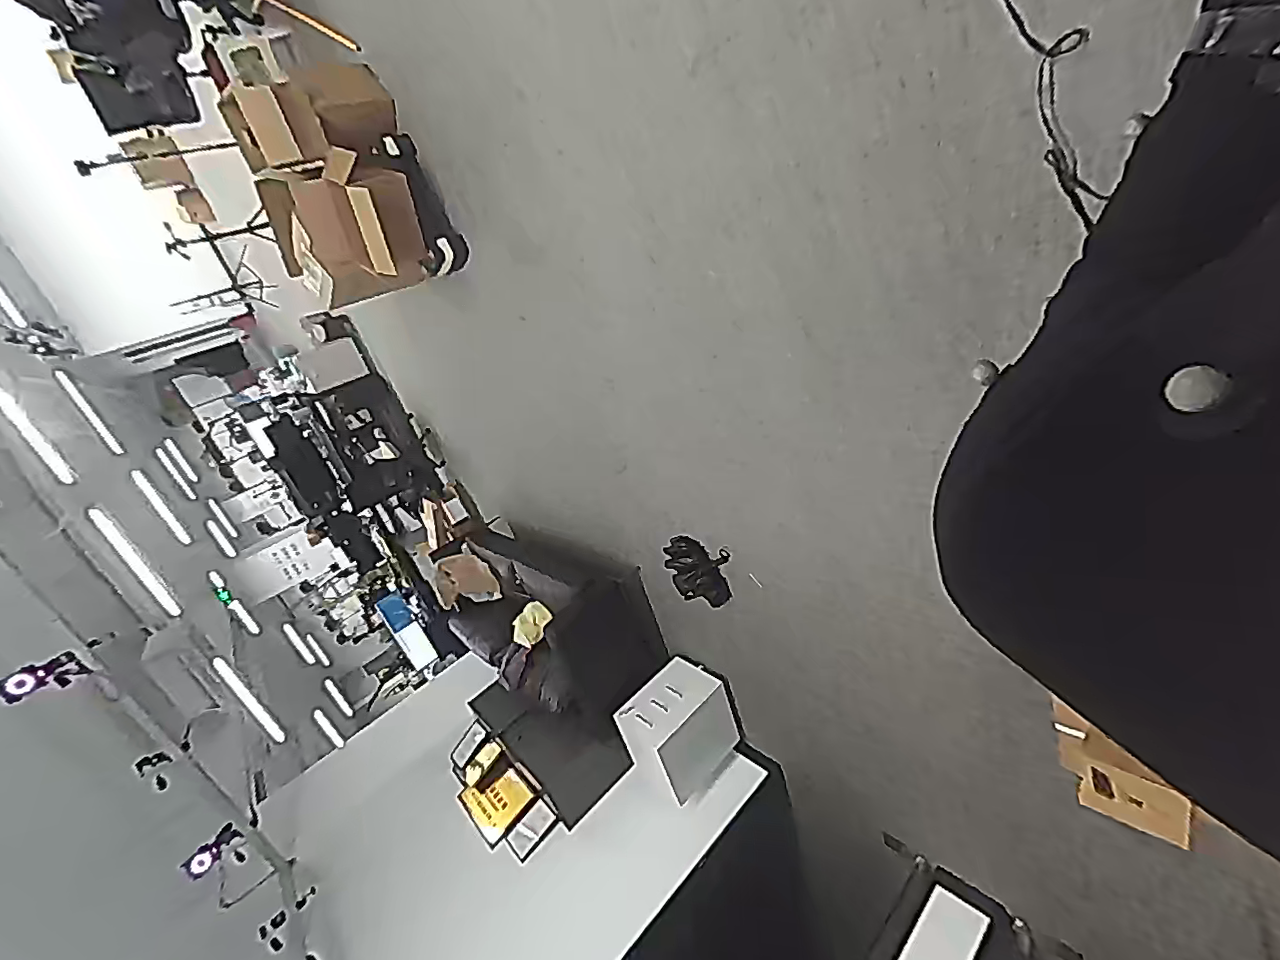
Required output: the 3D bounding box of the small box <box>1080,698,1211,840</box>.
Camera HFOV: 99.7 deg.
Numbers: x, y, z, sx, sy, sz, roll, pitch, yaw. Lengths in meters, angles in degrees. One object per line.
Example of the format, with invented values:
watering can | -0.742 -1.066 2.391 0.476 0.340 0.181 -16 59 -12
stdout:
small box | 1.071 0.600 1.151 0.179 0.176 0.168 9 126 50
